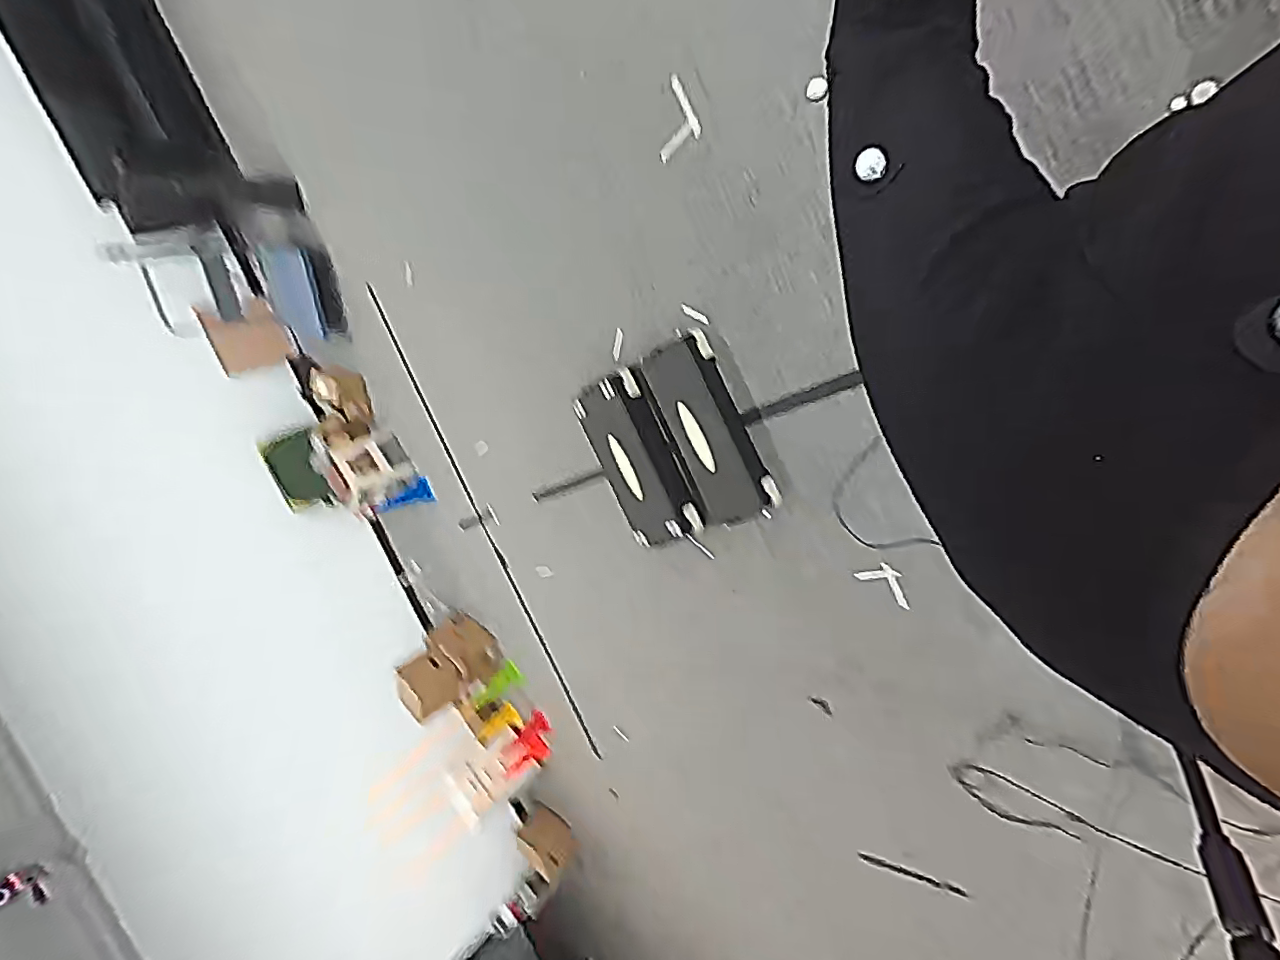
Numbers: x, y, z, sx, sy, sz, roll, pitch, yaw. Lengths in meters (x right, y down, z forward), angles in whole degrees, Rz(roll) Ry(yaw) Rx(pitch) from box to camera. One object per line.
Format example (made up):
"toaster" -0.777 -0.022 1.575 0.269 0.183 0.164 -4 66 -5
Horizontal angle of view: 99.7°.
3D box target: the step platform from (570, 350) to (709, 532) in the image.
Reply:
"step platform" -0.009 -0.137 2.084 0.286 0.204 0.684 -22 93 49
